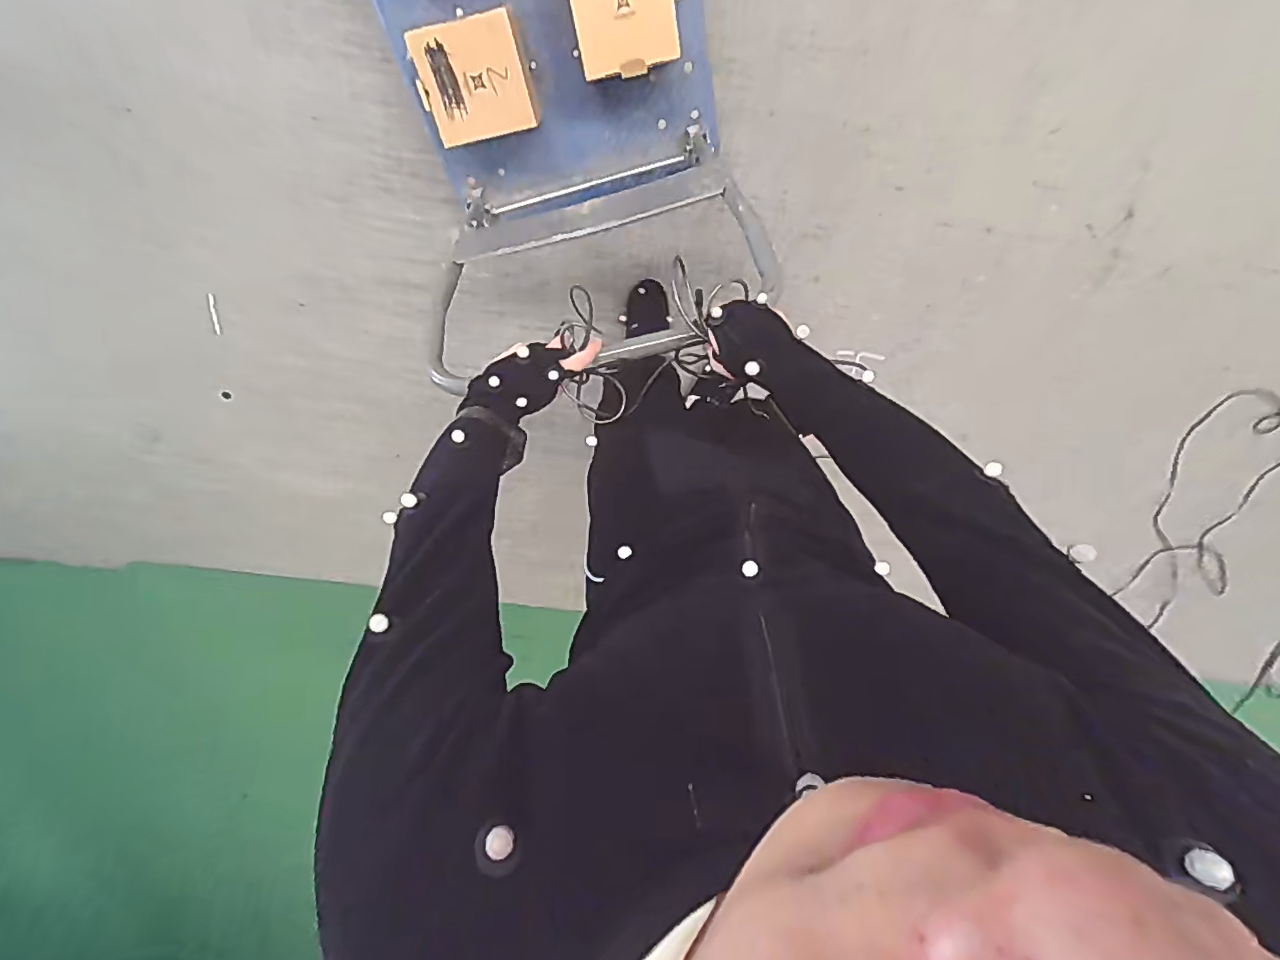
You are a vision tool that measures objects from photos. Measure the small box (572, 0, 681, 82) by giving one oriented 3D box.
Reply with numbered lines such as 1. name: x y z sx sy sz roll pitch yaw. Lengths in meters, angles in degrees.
1. small box: -0.030 -0.809 0.922 0.168 0.176 0.179 -10 132 6
